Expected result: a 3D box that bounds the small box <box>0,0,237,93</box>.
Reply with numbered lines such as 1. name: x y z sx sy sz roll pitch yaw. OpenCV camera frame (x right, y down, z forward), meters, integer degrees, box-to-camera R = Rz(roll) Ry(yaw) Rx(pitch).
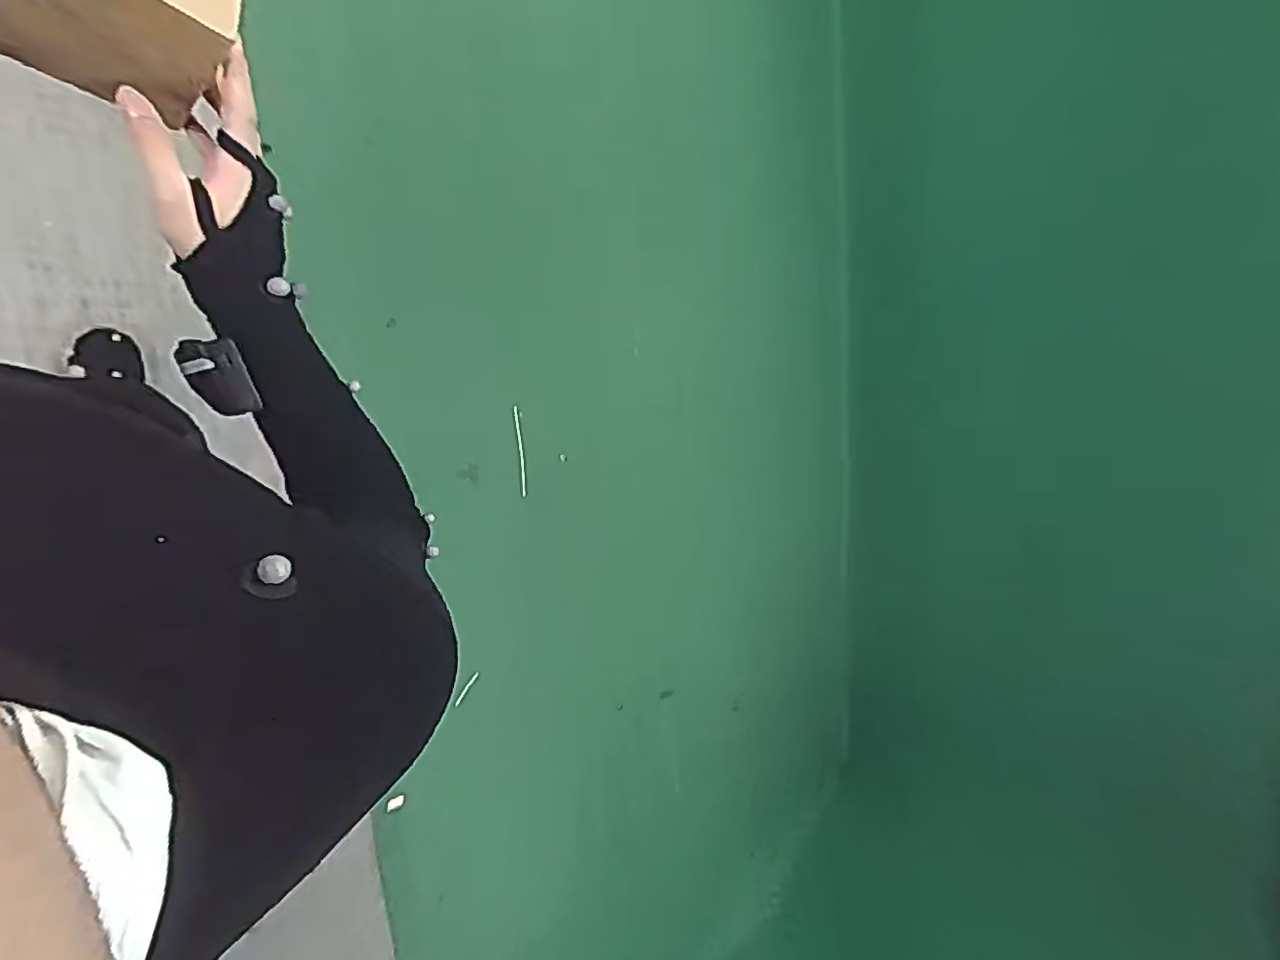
1. small box: -0.346 -0.371 0.308 0.179 0.176 0.168 7 90 -50
